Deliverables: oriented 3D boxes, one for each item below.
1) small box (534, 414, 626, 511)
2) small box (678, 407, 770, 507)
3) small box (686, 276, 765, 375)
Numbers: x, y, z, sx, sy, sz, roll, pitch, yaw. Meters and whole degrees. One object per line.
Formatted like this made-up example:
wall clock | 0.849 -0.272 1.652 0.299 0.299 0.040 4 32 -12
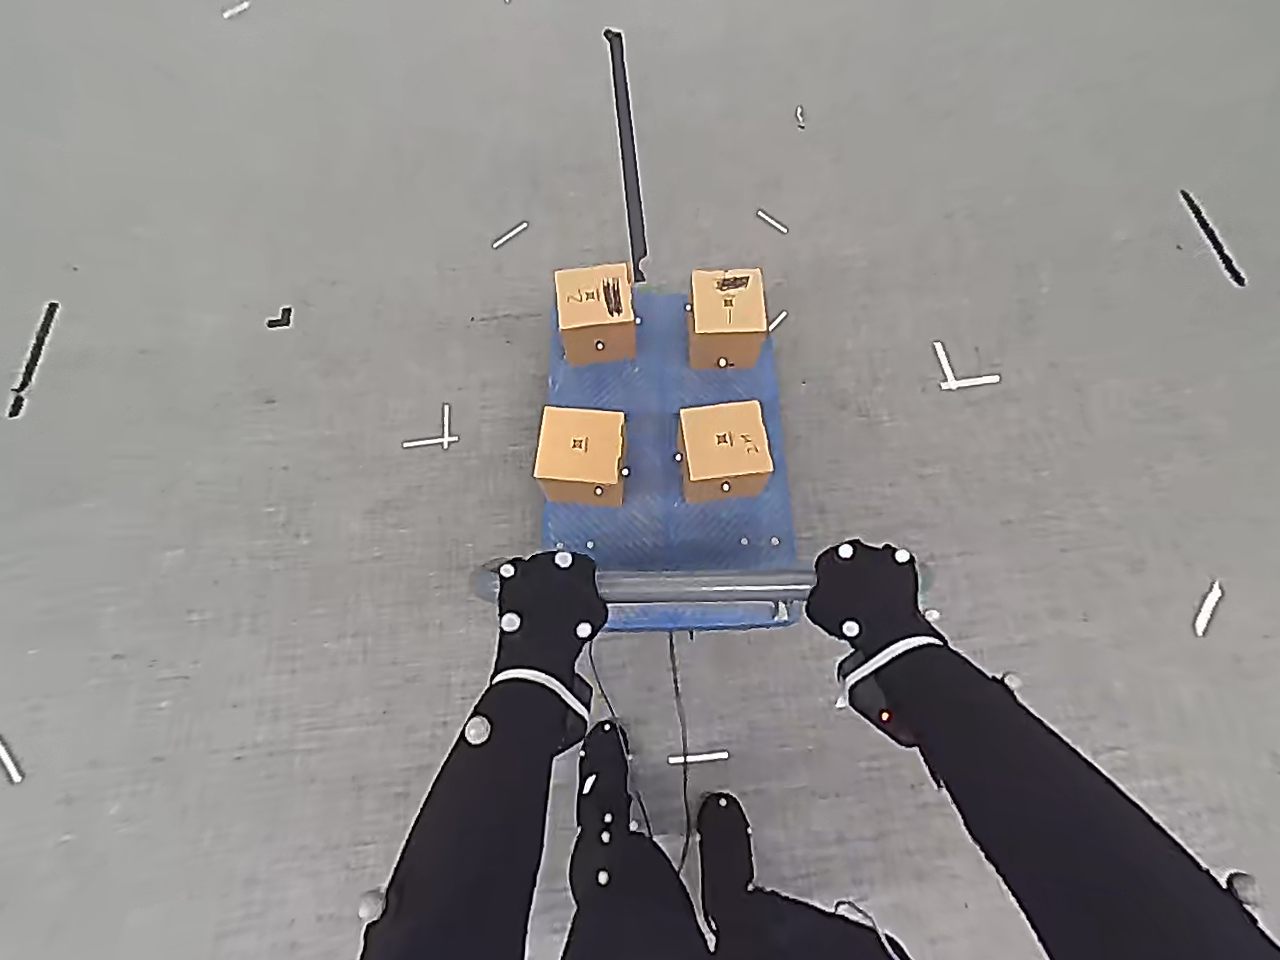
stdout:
small box | -0.127 -0.035 1.220 0.179 0.176 0.168 4 70 1
small box | 0.179 -0.046 1.217 0.179 0.176 0.168 -7 70 -1
small box | 0.204 -0.377 1.336 0.168 0.176 0.179 -2 71 1
